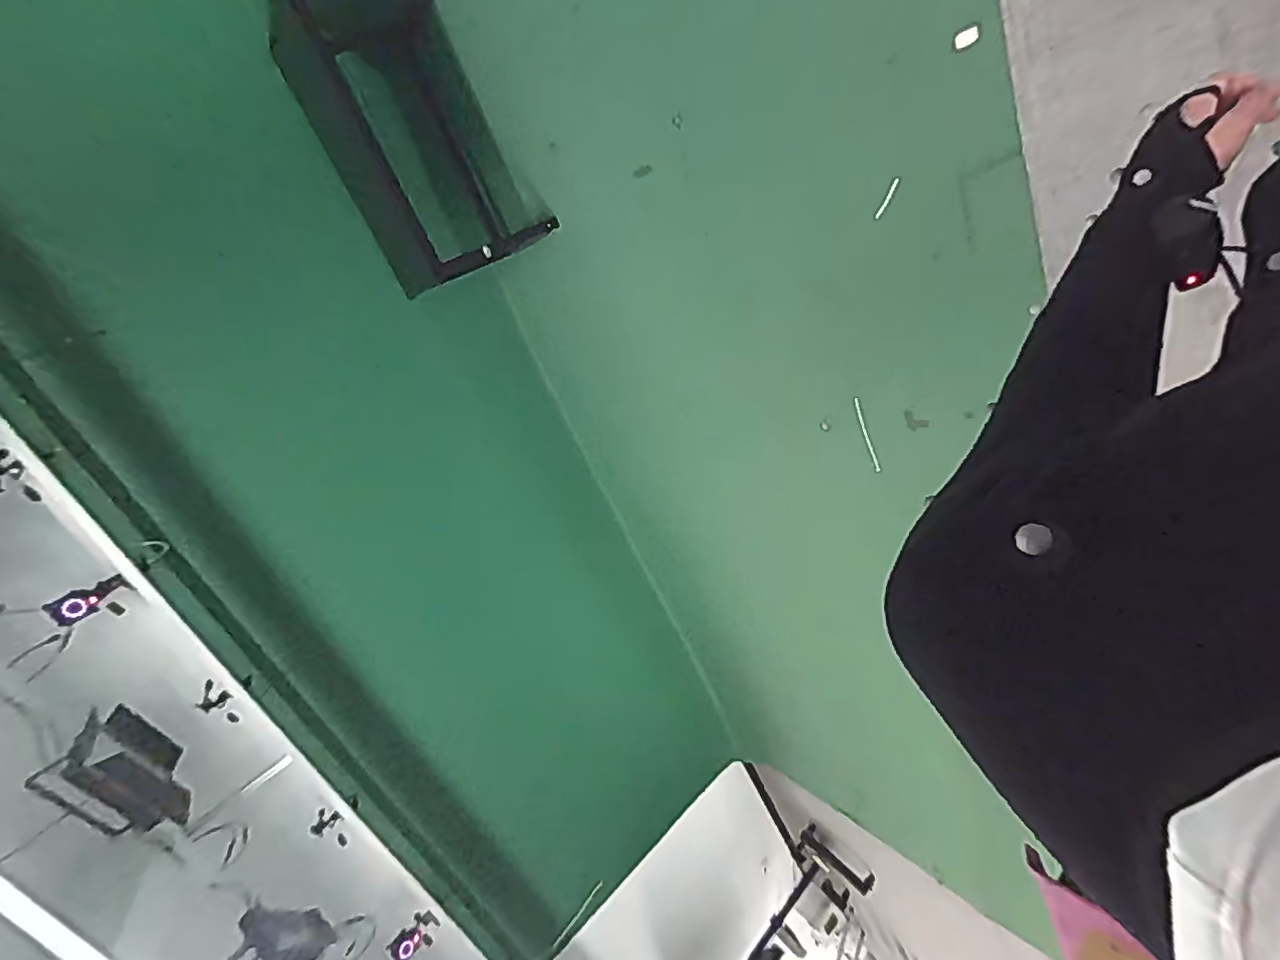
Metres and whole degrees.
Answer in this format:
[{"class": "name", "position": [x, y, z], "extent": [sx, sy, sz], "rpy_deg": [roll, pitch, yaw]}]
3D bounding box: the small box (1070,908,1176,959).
[{"class": "small box", "position": [1.229, 1.253, 1.366], "extent": [0.168, 0.176, 0.179], "rpy_deg": [6, 127, 57]}]
